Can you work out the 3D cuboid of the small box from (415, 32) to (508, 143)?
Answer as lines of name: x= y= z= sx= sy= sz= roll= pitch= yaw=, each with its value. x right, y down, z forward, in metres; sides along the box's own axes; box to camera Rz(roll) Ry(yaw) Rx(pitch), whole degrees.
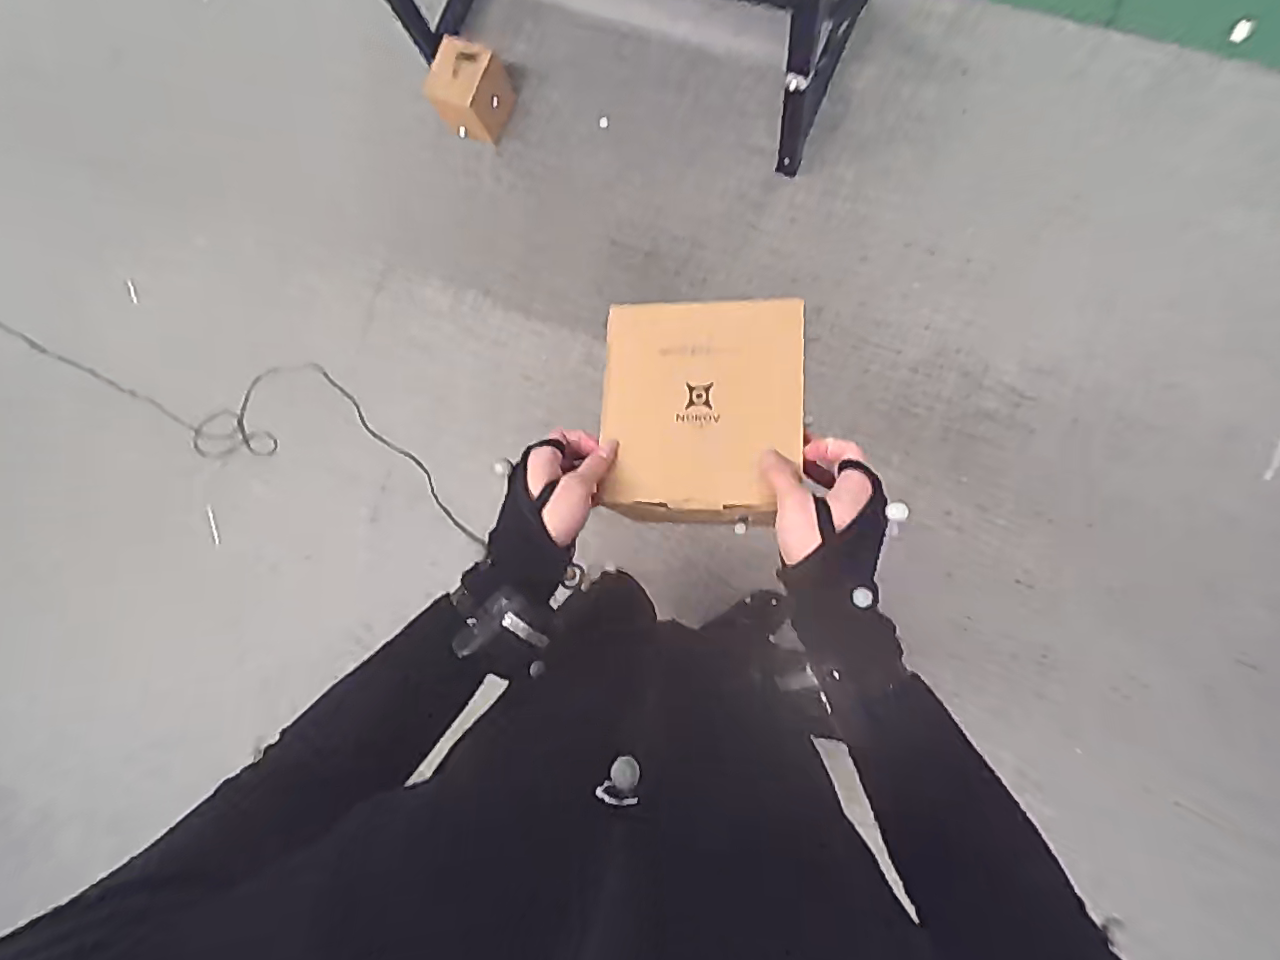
small box: x=-0.506 y=-1.127 z=1.560 sx=0.168 sy=0.176 sz=0.179 roll=23 pitch=90 yaw=12
